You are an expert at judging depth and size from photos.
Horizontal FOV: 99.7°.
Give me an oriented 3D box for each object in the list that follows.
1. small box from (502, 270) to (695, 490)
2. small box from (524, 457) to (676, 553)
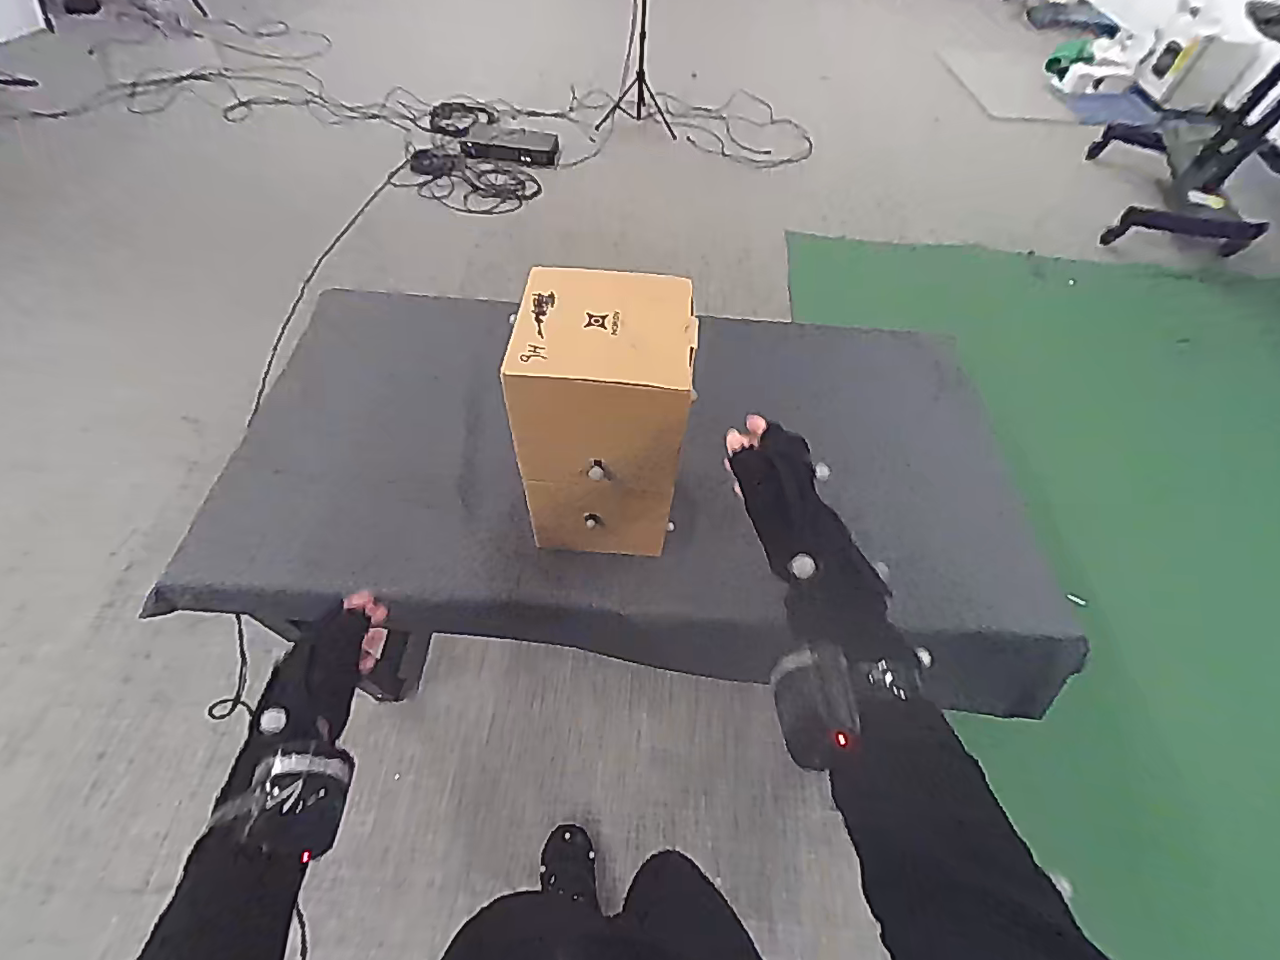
[{"bbox_3d":[-0.039,-0.104,0.601,0.179,0.176,0.168,5,55,0],"label":"small box"},{"bbox_3d":[-0.046,-0.016,0.735,0.179,0.176,0.168,7,53,1],"label":"small box"}]
